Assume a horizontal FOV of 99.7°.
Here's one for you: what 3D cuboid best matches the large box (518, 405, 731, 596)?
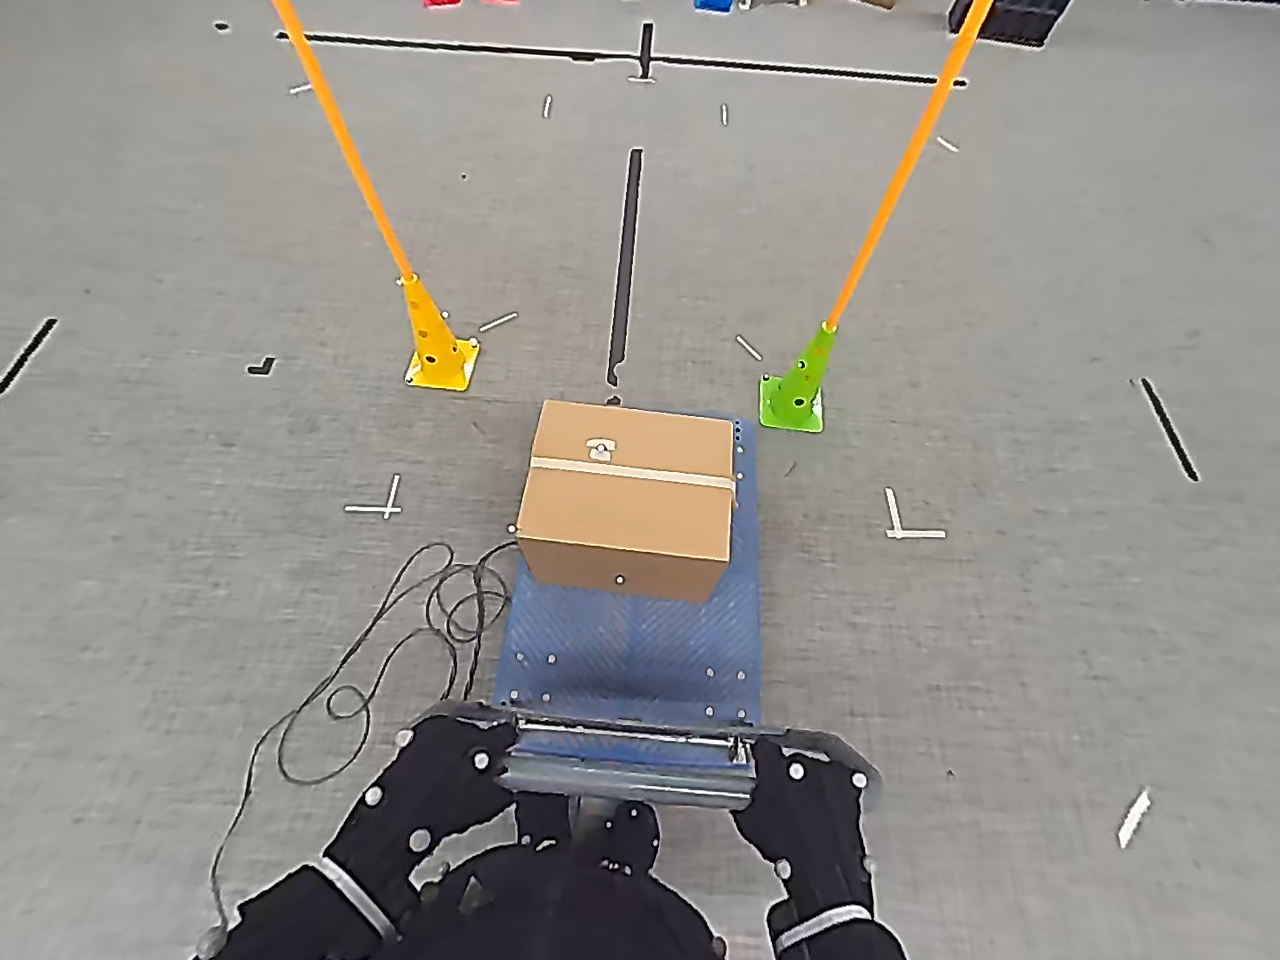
[{"bbox_3d":[-0.021,0.061,1.212,0.408,0.320,0.320,7,63,1],"label":"large box"}]

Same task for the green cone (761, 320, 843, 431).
[{"bbox_3d":[0.505,-0.328,1.599,0.202,0.368,0.200,8,63,0],"label":"green cone"}]
